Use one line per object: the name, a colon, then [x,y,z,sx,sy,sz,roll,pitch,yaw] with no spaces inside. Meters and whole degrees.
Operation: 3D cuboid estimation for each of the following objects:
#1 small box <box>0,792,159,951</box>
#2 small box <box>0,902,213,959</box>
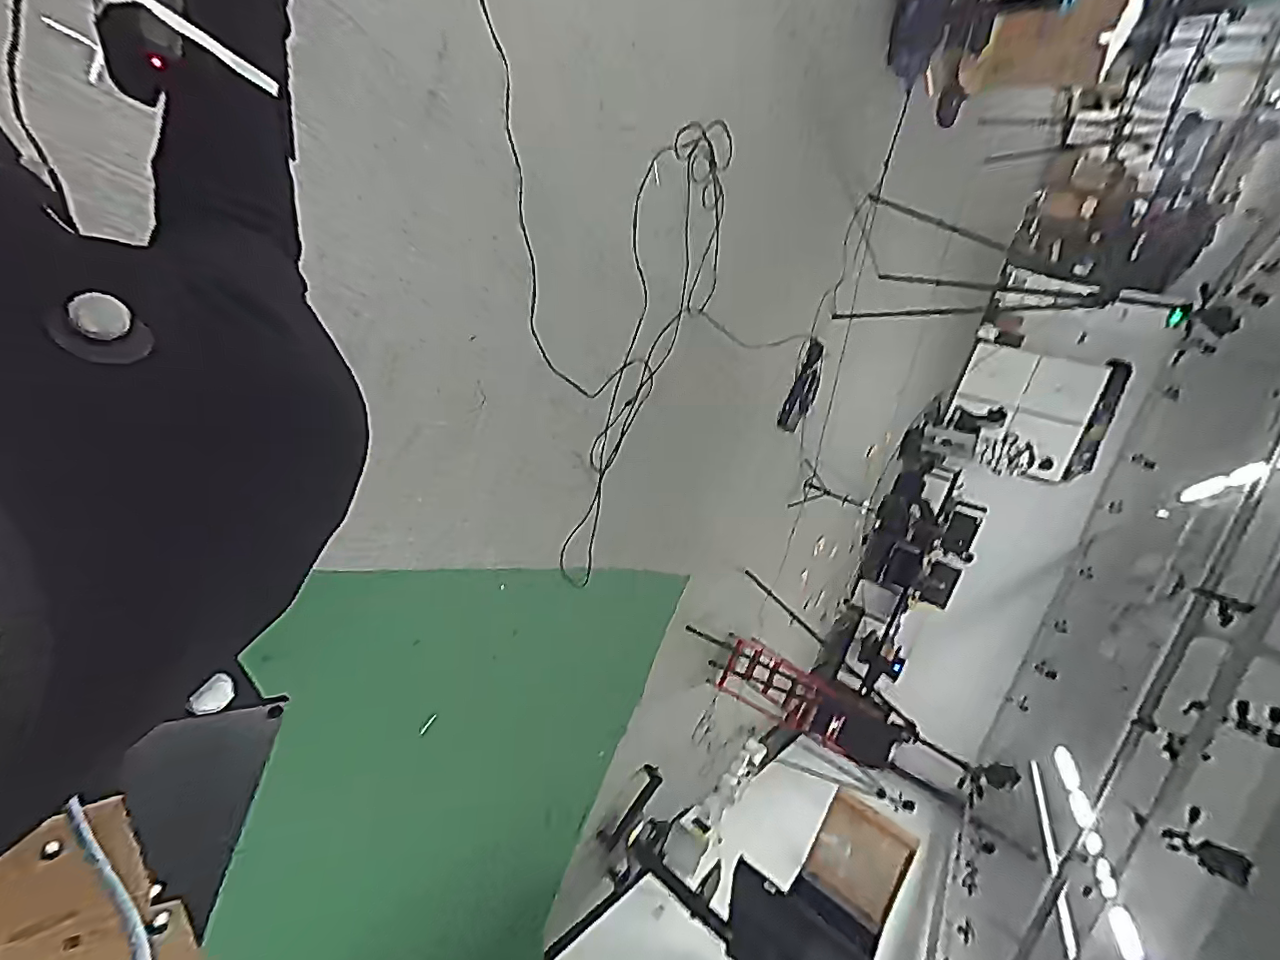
small box: [-0.701,0.520,0.636,0.168,0.176,0.179,0,110,-54]
small box: [-0.574,0.579,0.550,0.179,0.176,0.168,-61,146,-5]
